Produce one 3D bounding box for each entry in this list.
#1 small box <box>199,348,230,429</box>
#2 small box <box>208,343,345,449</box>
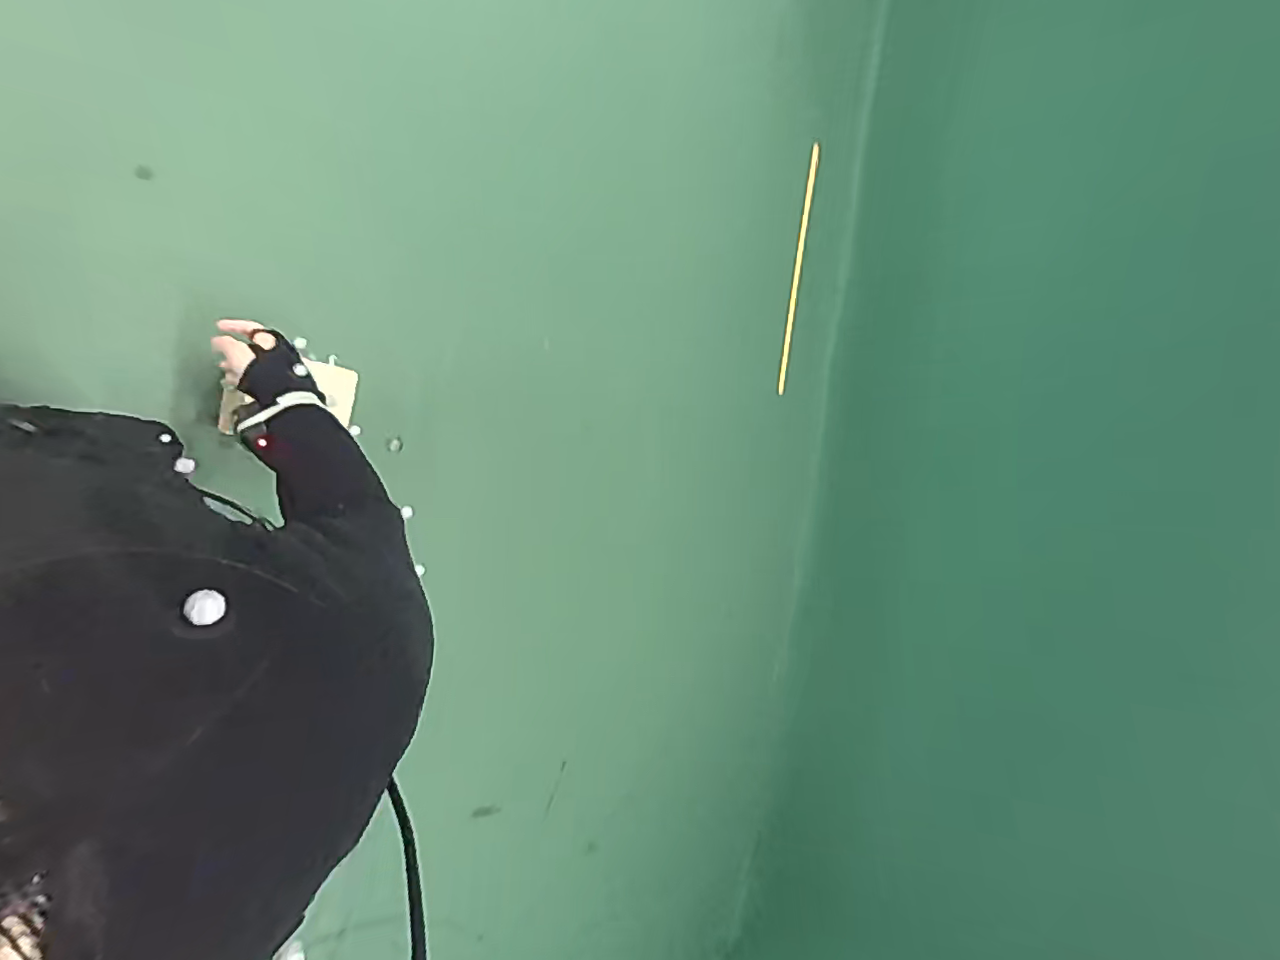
[{"bbox_3d":[-0.843,-0.181,1.191,0.179,0.176,0.168,10,90,-47],"label":"small box"},{"bbox_3d":[-0.724,-0.165,1.076,0.179,0.176,0.168,14,87,-46],"label":"small box"}]
